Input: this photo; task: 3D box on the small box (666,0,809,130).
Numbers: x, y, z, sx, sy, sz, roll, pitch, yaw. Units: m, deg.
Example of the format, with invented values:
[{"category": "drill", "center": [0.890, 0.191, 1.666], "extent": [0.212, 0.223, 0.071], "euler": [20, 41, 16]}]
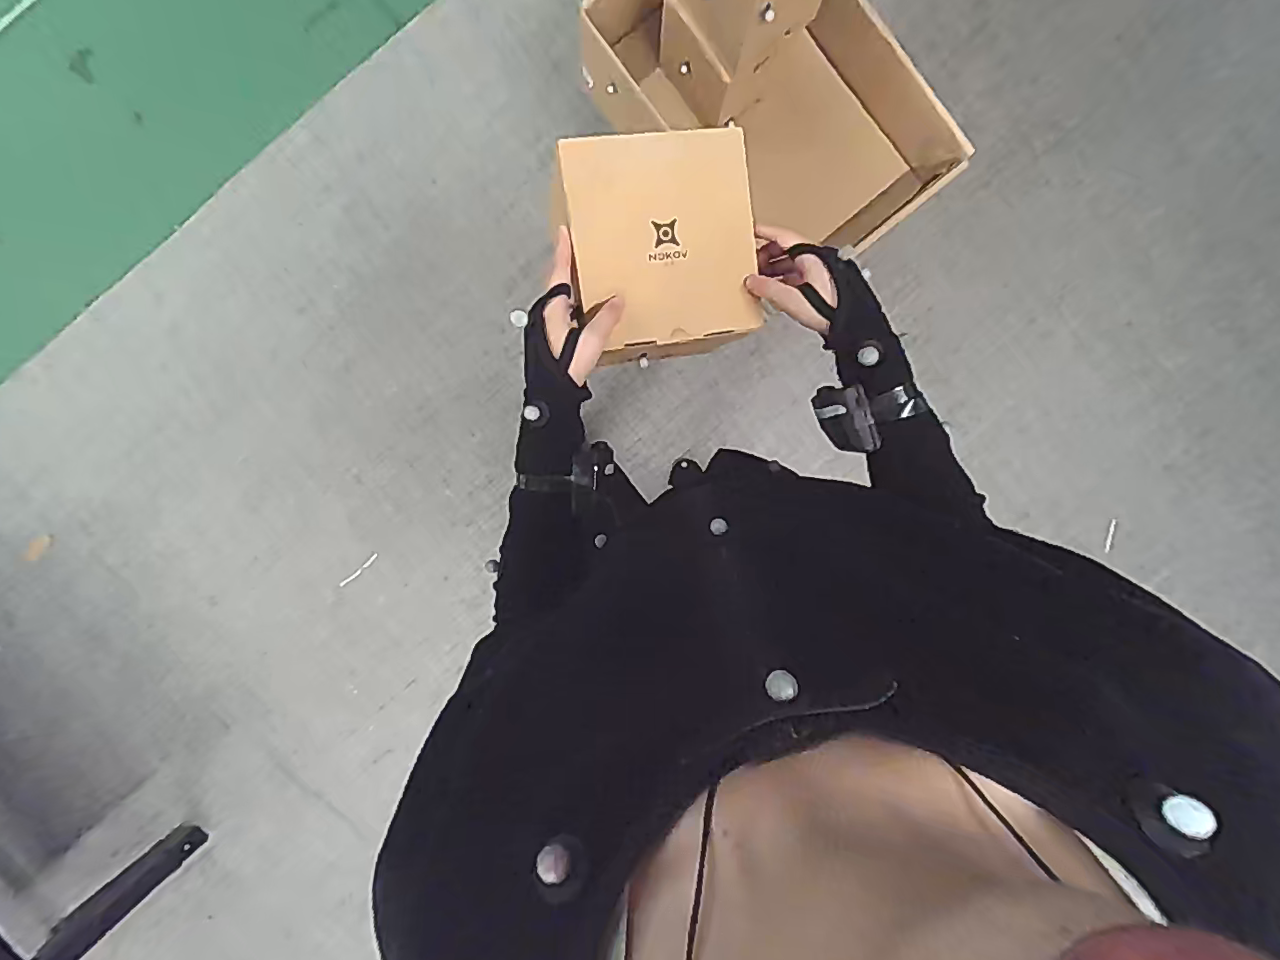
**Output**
[{"category": "small box", "center": [0.161, -0.763, 0.954], "extent": [0.168, 0.176, 0.179], "euler": [-37, 93, 2]}]
